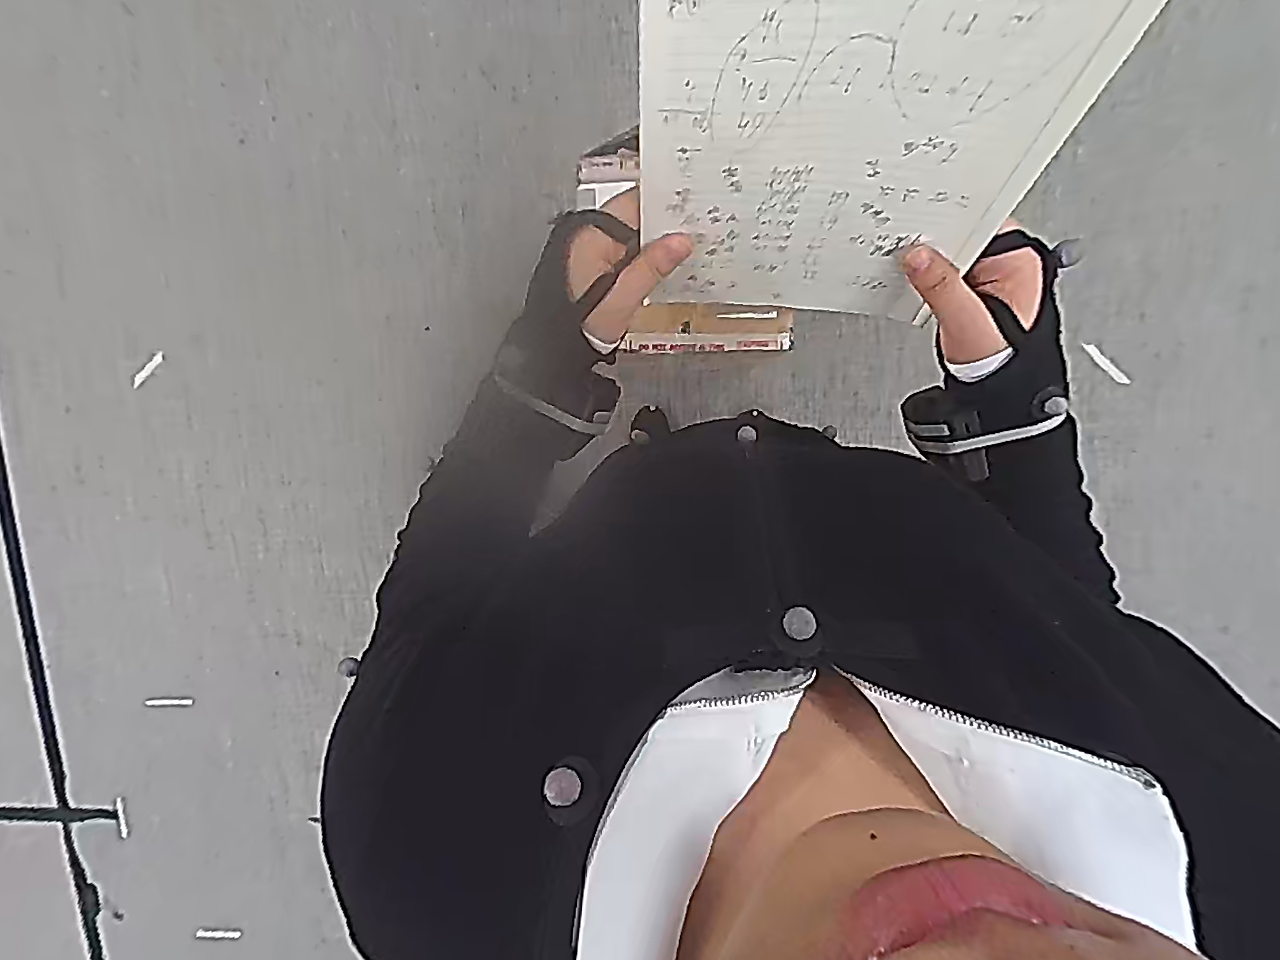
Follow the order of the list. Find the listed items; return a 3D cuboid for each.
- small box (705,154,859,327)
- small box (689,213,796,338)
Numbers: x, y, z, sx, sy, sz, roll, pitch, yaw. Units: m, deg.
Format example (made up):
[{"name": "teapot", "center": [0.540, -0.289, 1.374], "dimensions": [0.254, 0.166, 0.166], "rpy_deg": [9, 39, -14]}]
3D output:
[{"name": "small box", "center": [0.177, -0.306, 0.724], "dimensions": [0.168, 0.176, 0.179], "rpy_deg": [-1, 99, 1]}, {"name": "small box", "center": [0.177, -0.330, 0.887], "dimensions": [0.179, 0.176, 0.168], "rpy_deg": [-4, 98, 2]}]
